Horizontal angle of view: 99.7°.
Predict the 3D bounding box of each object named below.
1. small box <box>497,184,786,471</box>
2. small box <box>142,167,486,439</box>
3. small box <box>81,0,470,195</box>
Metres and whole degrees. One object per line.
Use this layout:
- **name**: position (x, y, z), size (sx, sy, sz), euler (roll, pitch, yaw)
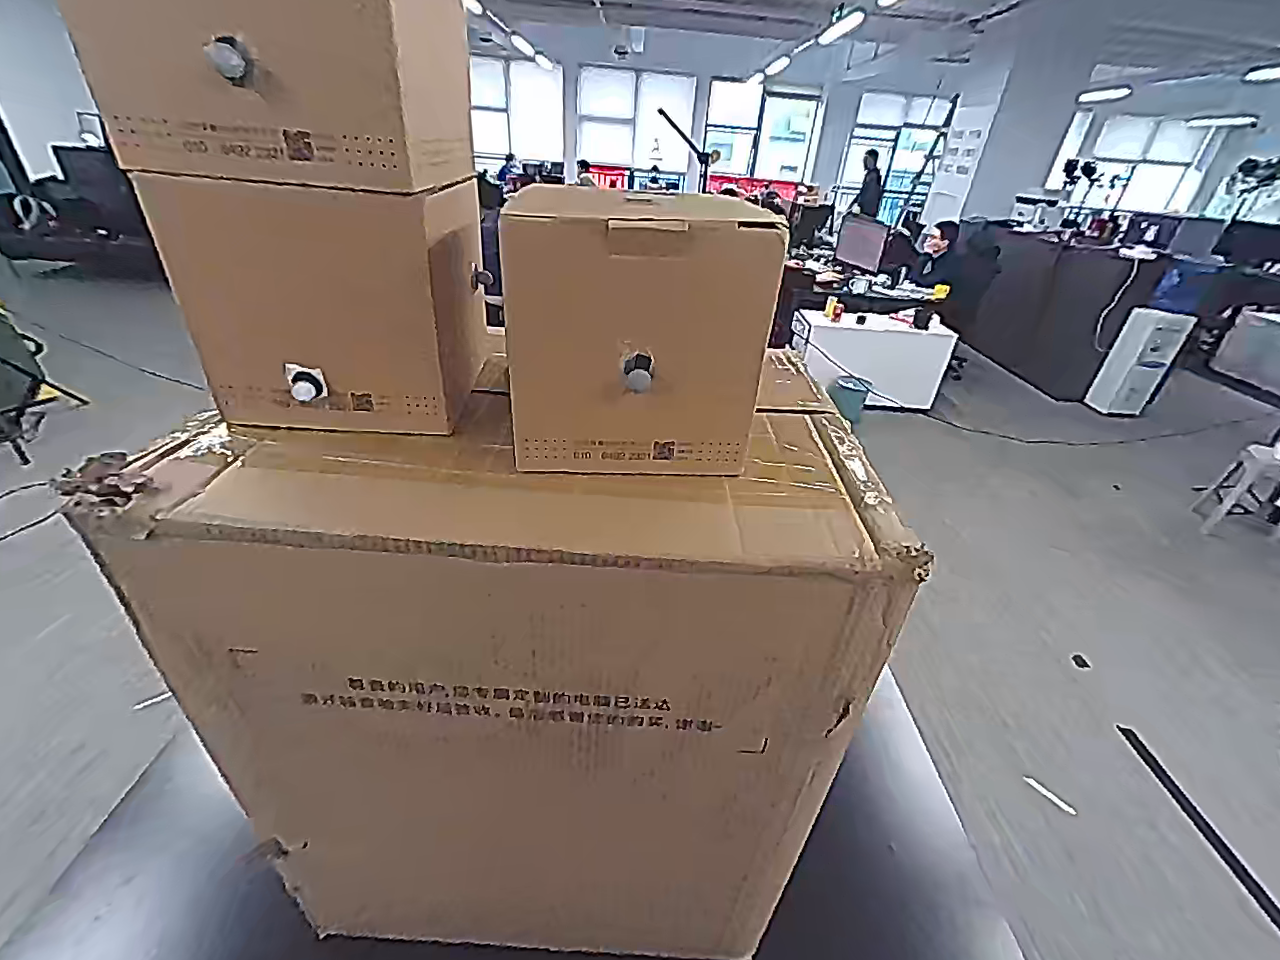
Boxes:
- **small box**: position (-0.006, -0.118, 0.410), size (0.168, 0.176, 0.179), euler (1, 33, -6)
- **small box**: position (-0.221, -0.149, 0.432), size (0.168, 0.176, 0.179), euler (1, 33, -6)
- **small box**: position (-0.210, -0.287, 0.342), size (0.168, 0.176, 0.179), euler (2, 32, -4)
